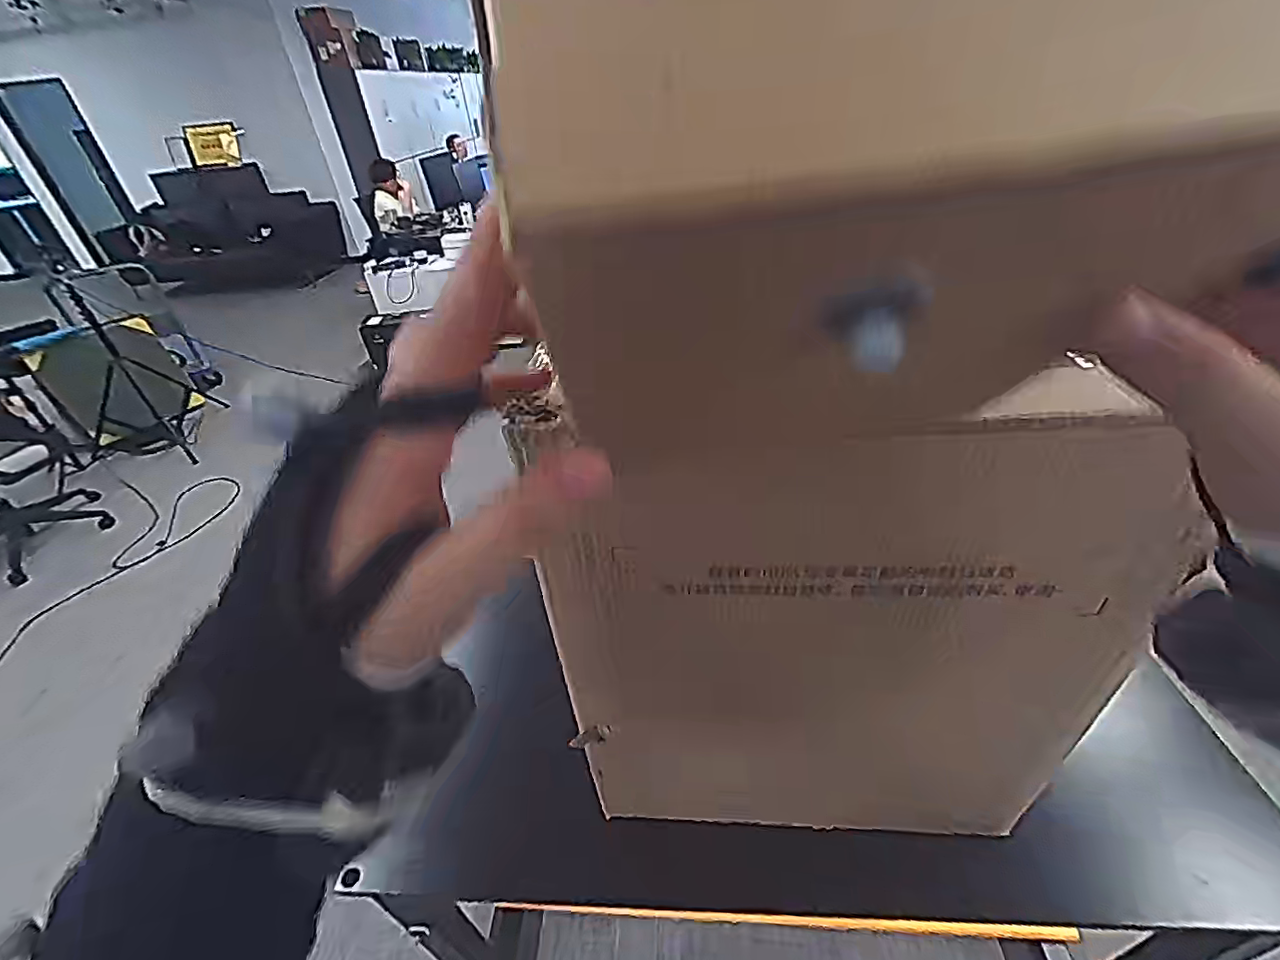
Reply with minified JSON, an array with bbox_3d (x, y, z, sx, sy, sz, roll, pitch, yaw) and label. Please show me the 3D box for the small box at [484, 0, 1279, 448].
[{"bbox_3d":[0.051,-0.120,0.184,0.179,0.176,0.168,-10,77,-3],"label":"small box"}]
